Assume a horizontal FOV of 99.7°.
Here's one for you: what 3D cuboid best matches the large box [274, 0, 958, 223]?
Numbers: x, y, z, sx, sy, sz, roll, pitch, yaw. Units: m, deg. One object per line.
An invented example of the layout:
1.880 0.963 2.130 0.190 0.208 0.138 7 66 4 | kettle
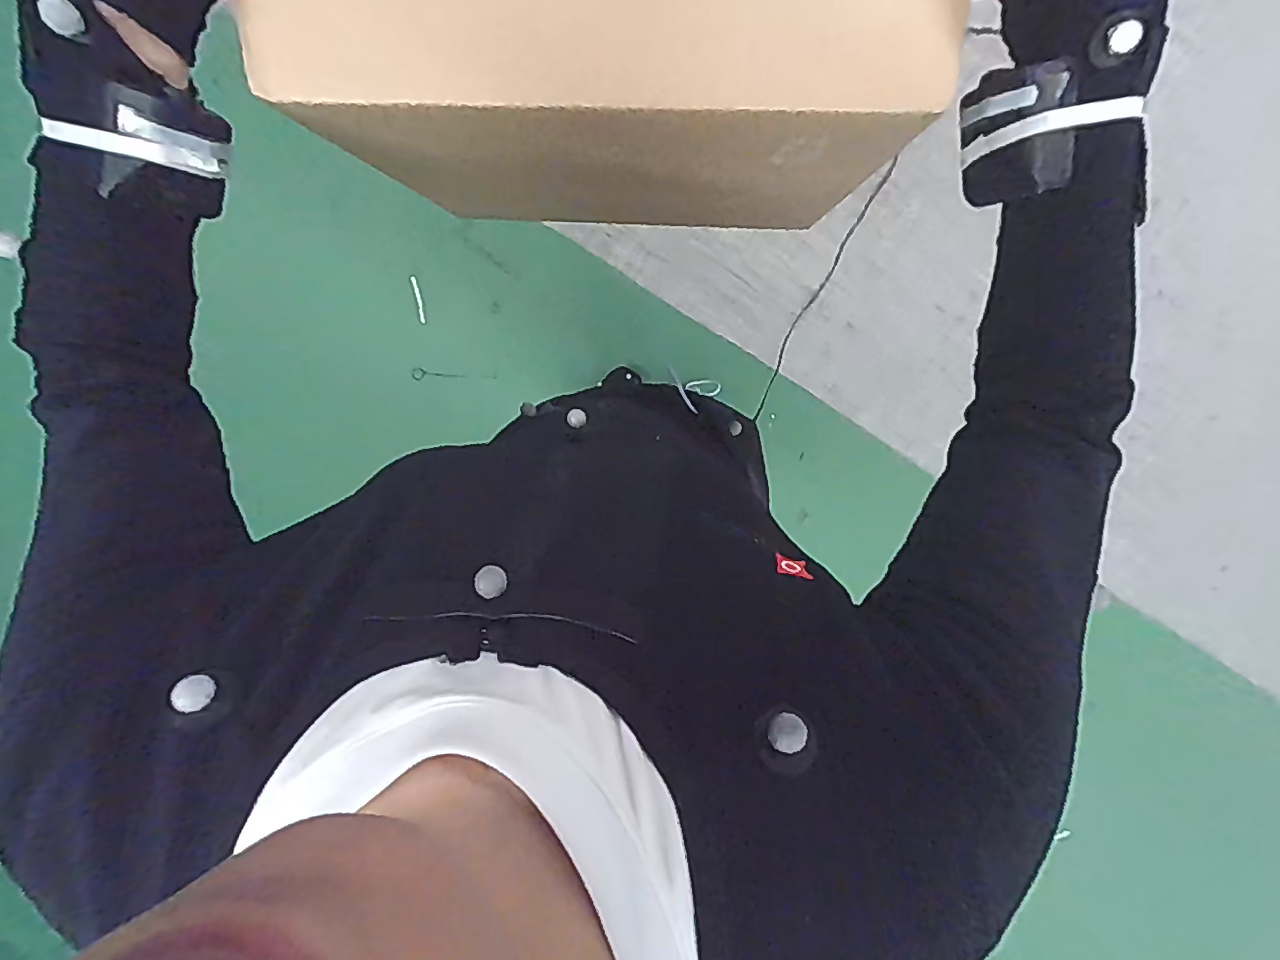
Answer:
-0.009 -0.406 0.433 0.408 0.320 0.320 3 104 3 | large box
